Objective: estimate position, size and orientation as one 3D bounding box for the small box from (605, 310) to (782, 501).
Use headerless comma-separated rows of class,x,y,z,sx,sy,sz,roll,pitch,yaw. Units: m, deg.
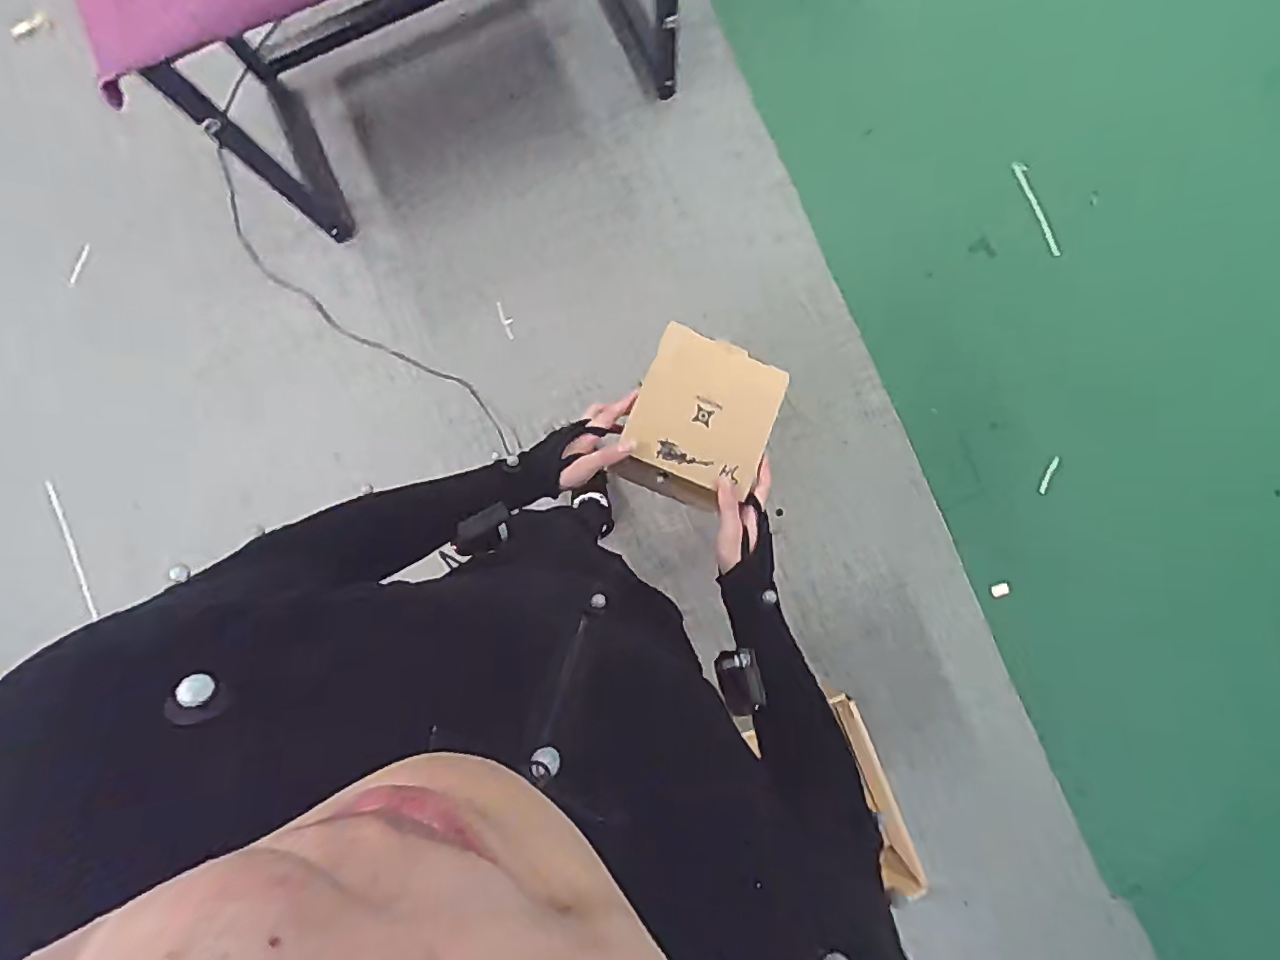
small box,0.059,-0.086,0.718,0.168,0.176,0.179,22,80,-4
